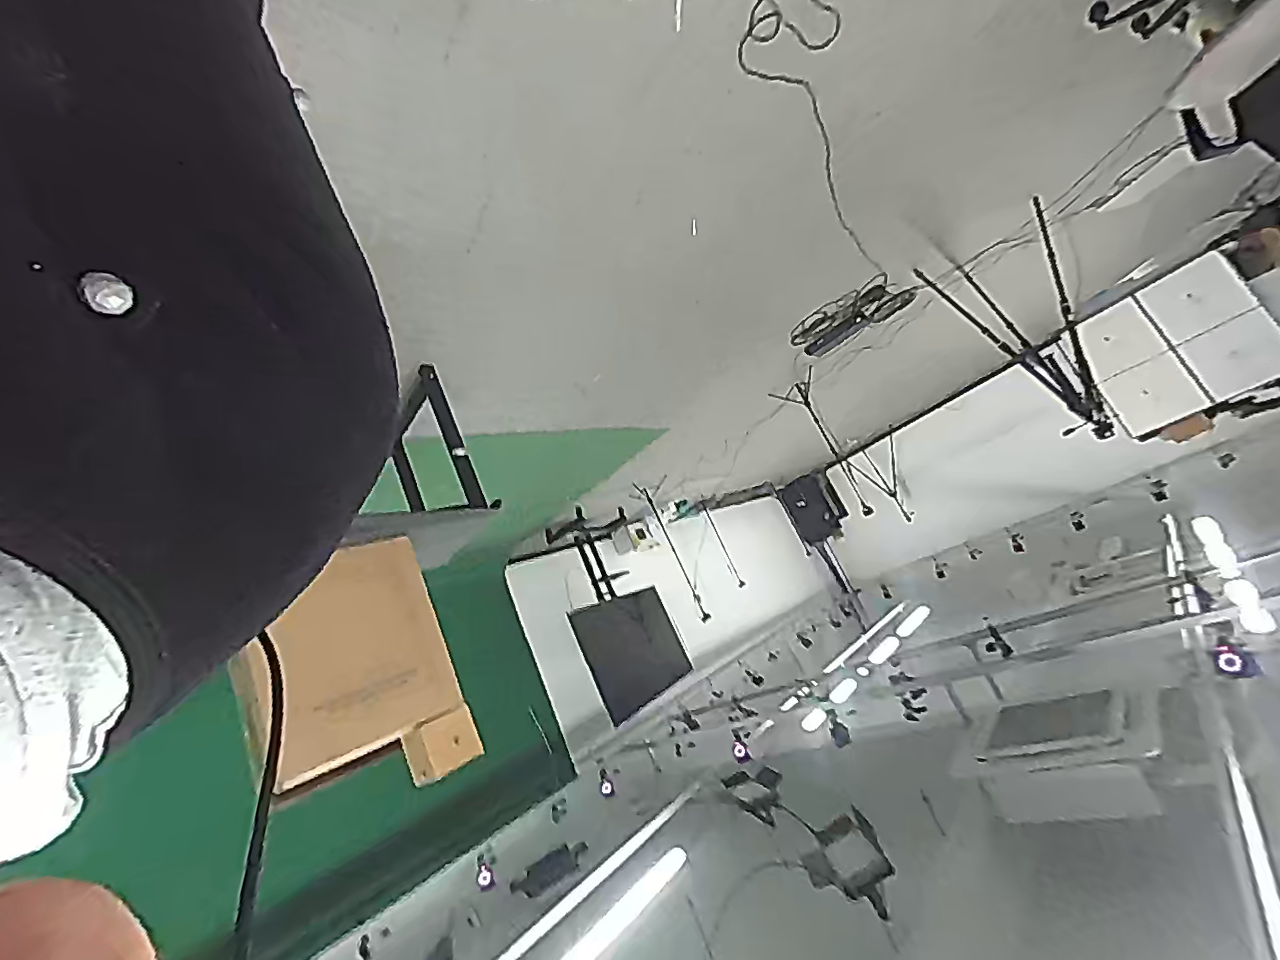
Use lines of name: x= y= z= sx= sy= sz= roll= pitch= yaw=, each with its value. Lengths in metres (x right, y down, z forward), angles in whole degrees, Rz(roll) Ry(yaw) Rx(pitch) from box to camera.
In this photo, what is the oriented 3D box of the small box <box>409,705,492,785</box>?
small box: x=-0.631 y=0.873 z=1.792 sx=0.179 sy=0.176 sz=0.168 roll=-12 pitch=160 yaw=-50
